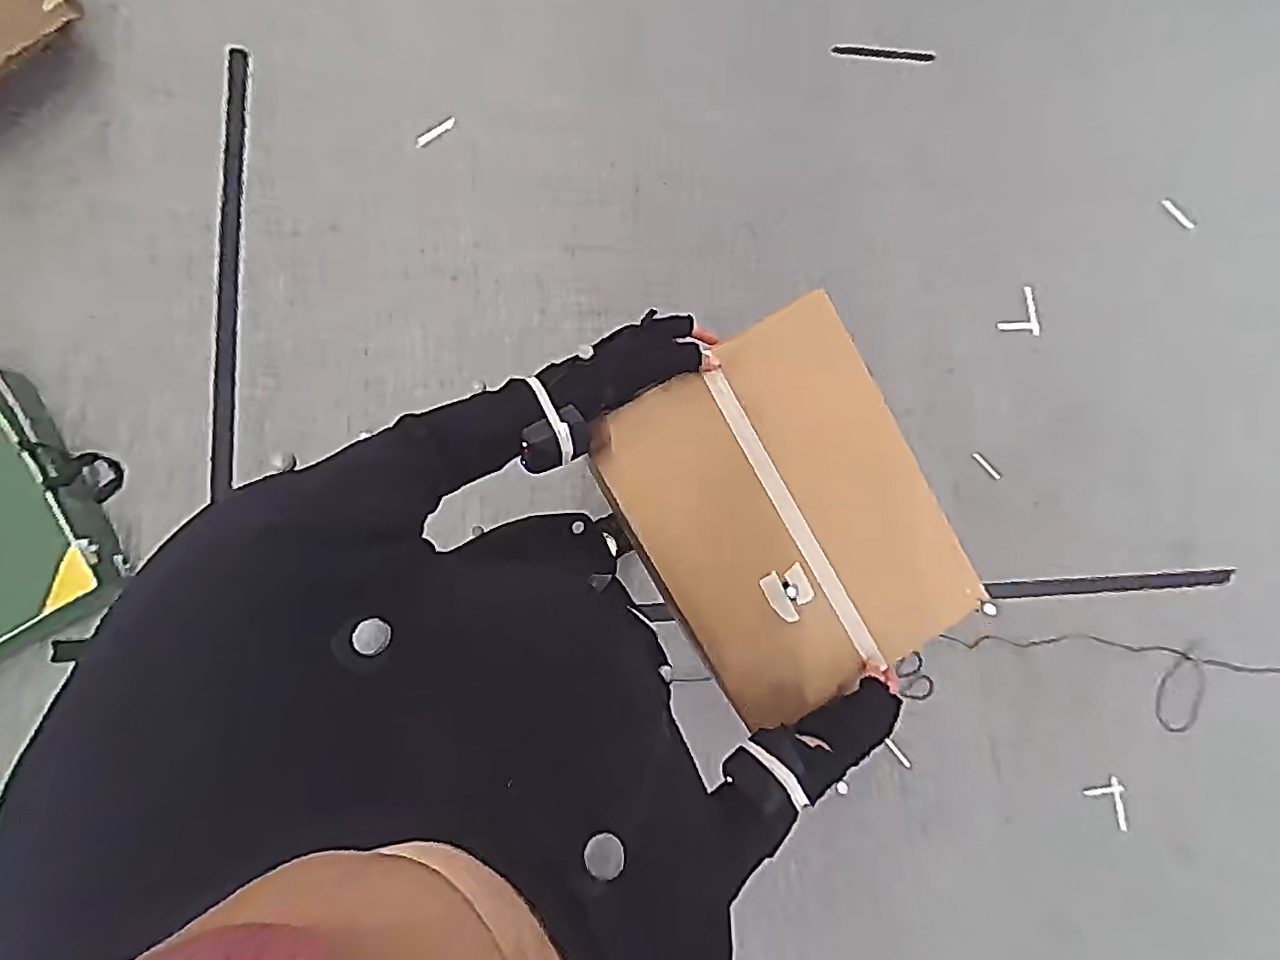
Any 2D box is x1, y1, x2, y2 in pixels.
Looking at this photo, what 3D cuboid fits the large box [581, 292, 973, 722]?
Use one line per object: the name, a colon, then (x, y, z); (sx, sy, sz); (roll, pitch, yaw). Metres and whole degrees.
large box: (0.147, 0.026, 0.756); (0.320, 0.320, 0.408); (-30, 95, -4)
